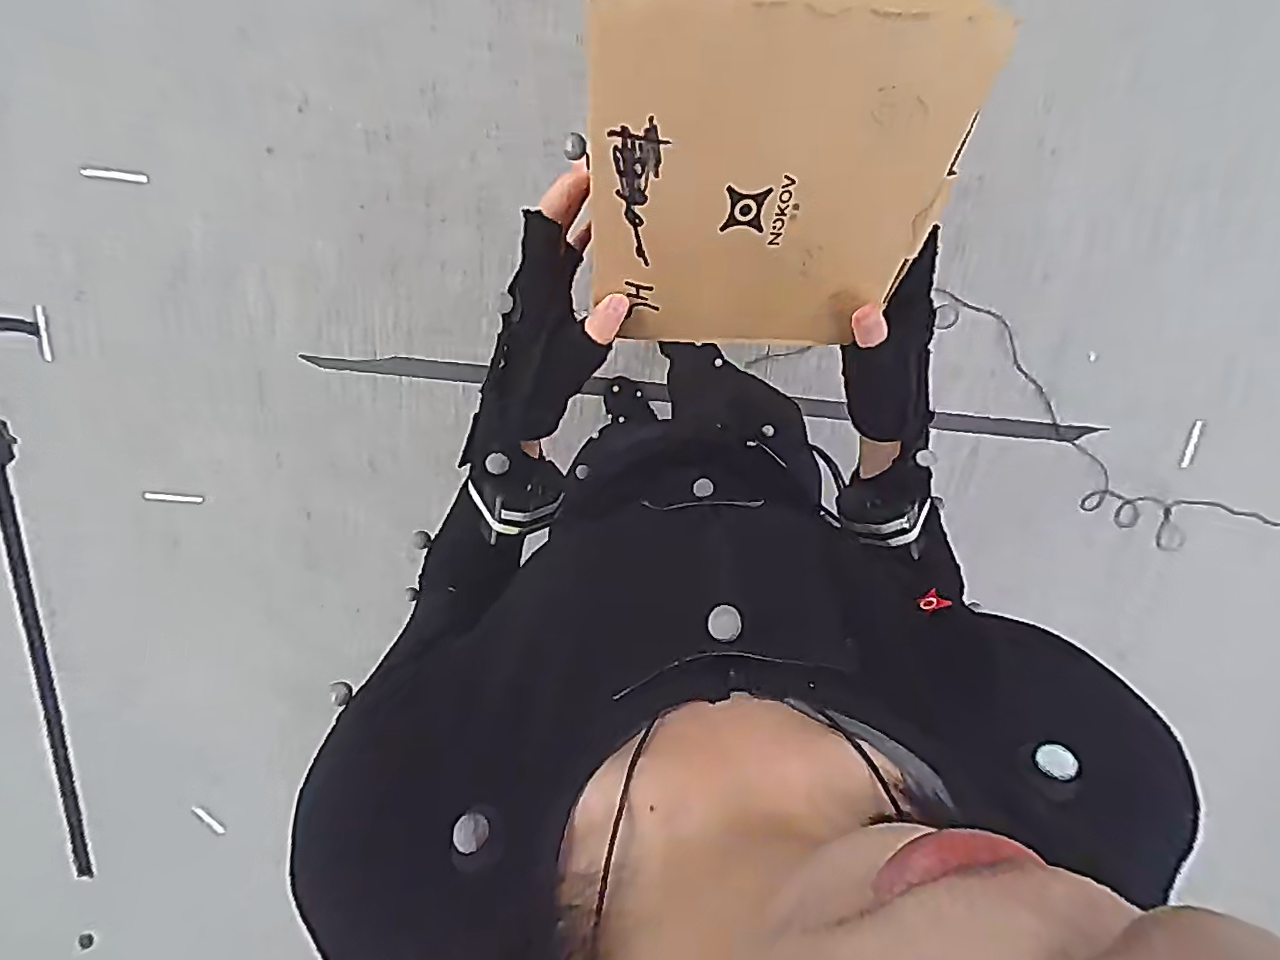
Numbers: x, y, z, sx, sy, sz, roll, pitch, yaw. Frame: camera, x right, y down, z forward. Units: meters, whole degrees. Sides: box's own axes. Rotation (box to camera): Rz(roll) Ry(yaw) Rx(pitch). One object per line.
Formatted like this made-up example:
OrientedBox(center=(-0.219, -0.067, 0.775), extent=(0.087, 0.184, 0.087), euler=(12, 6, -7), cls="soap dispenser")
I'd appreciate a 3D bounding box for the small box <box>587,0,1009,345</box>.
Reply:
OrientedBox(center=(0.058, -0.201, 0.324), extent=(0.179, 0.176, 0.168), euler=(1, 143, -4), cls="small box")
